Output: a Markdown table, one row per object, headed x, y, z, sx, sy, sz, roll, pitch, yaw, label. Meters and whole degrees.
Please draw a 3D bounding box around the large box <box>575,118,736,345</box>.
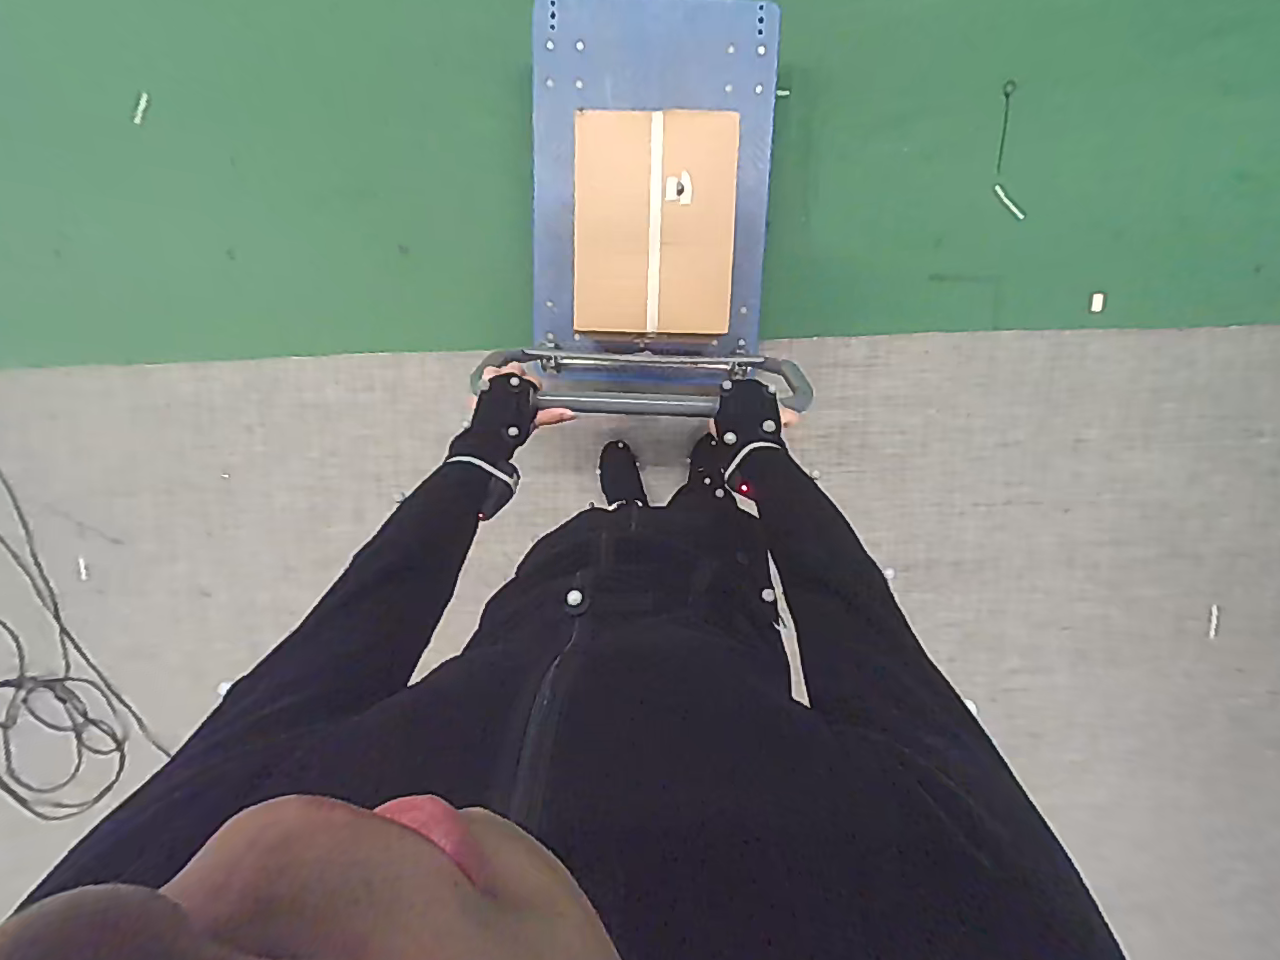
| x | y | z | sx | sy | sz | roll | pitch | yaw | label |
| --- | --- | --- | --- | --- | --- | --- | --- | --- | --- |
| 0.033 | -0.519 | 1.211 | 0.320 | 0.320 | 0.408 | 2 | 100 | 1 | large box |
